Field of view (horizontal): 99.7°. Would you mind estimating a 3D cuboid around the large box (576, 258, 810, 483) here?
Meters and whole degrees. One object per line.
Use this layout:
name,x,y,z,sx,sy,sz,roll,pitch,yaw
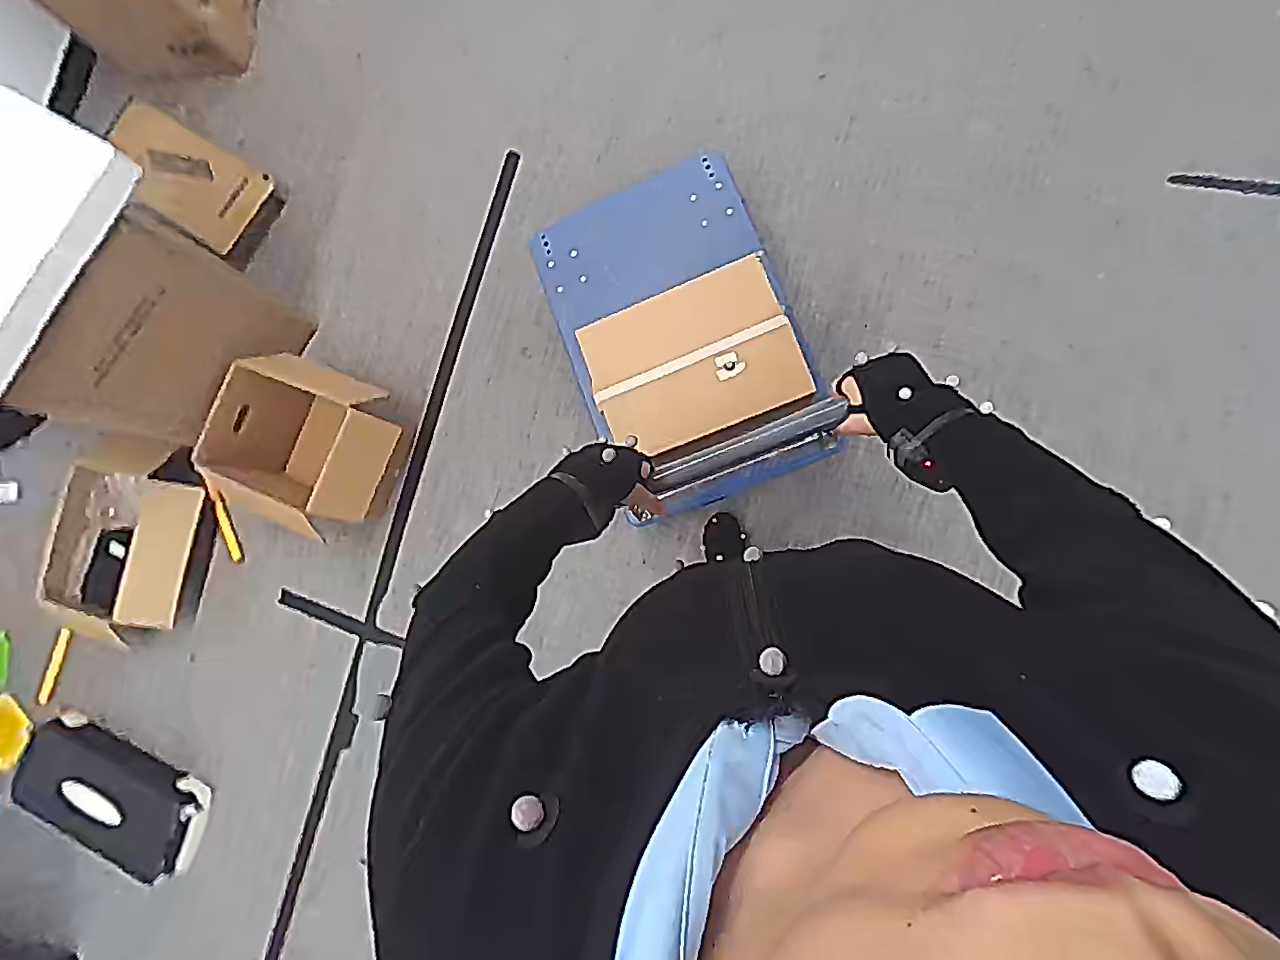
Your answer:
large box,0.120,-0.218,1.232,0.408,0.320,0.320,-21,81,7
